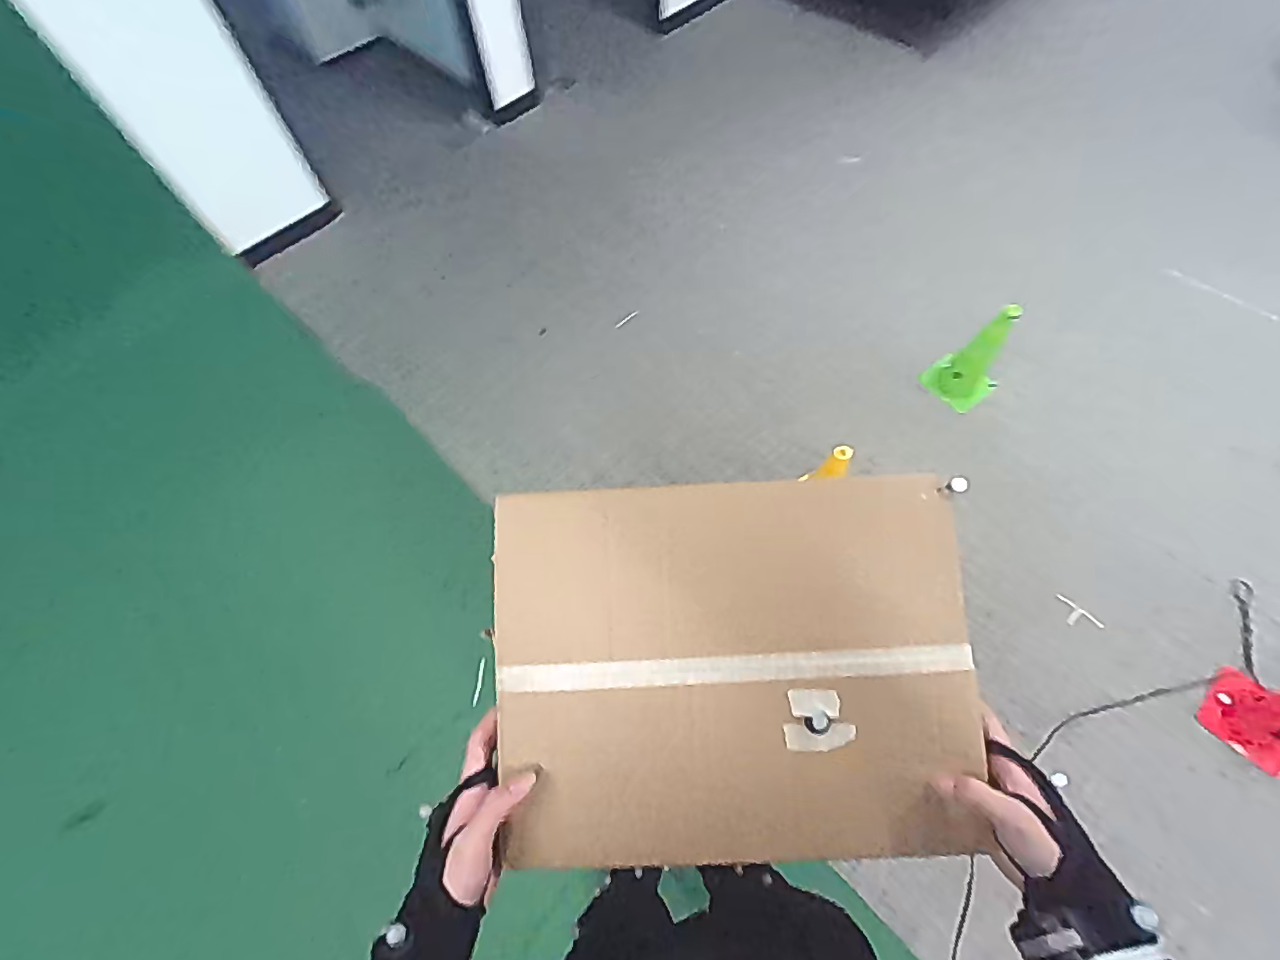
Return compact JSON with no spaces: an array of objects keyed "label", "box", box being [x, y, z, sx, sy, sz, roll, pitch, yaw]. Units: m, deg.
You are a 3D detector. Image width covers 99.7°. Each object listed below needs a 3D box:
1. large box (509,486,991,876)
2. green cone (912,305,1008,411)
[{"label":"large box","box":[0.088,0.188,0.616,0.408,0.320,0.320,-3,83,1]},{"label":"green cone","box":[1.088,-0.432,1.768,0.202,0.368,0.200,-37,66,-14]}]
